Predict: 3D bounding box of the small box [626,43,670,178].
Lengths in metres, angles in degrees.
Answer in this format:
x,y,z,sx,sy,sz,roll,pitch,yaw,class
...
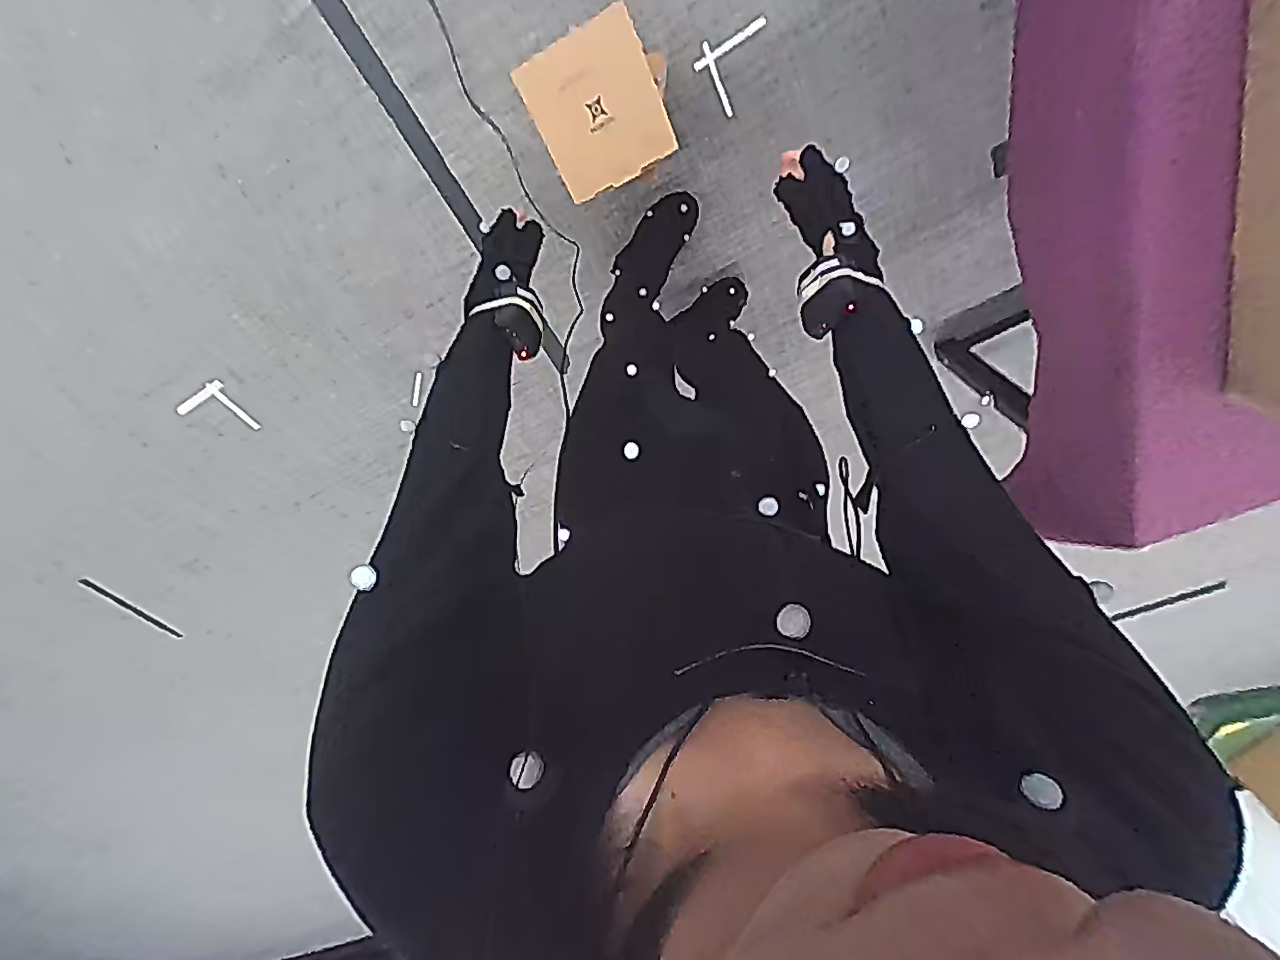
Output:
x,y,z,sx,sy,sz,roll,pitch,yaw,class
-0.047,-0.624,0.910,0.168,0.176,0.179,2,125,-4,small box

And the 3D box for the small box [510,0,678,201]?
x,y,z,sx,sy,sz,roll,pitch,yaw,class
-0.059,-0.536,0.771,0.168,0.176,0.179,-24,123,13,small box
